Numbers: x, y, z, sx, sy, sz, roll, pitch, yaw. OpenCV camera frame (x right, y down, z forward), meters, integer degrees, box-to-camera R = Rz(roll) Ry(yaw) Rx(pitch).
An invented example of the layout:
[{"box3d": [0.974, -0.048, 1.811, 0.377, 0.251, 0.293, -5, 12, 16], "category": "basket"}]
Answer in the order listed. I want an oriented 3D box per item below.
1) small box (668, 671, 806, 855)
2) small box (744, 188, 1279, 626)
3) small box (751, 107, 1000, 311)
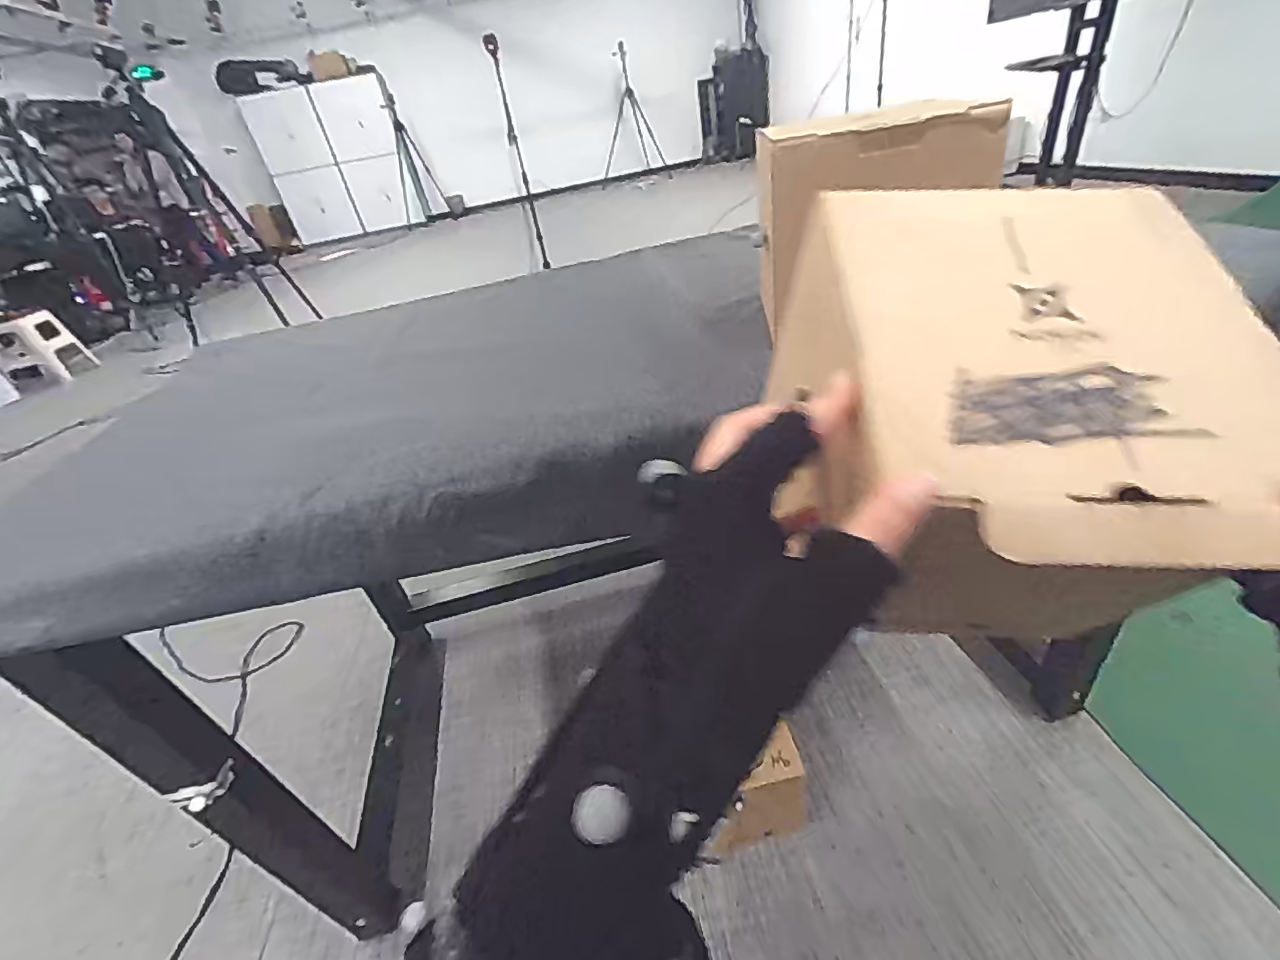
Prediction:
[{"box3d": [0.148, 0.439, 0.845, 0.168, 0.176, 0.179, -14, 32, -2], "category": "small box"}, {"box3d": [0.153, -0.026, 0.294, 0.168, 0.176, 0.179, 0, 59, 2], "category": "small box"}, {"box3d": [0.195, -0.228, 0.501, 0.168, 0.176, 0.179, -4, 33, 9], "category": "small box"}]
